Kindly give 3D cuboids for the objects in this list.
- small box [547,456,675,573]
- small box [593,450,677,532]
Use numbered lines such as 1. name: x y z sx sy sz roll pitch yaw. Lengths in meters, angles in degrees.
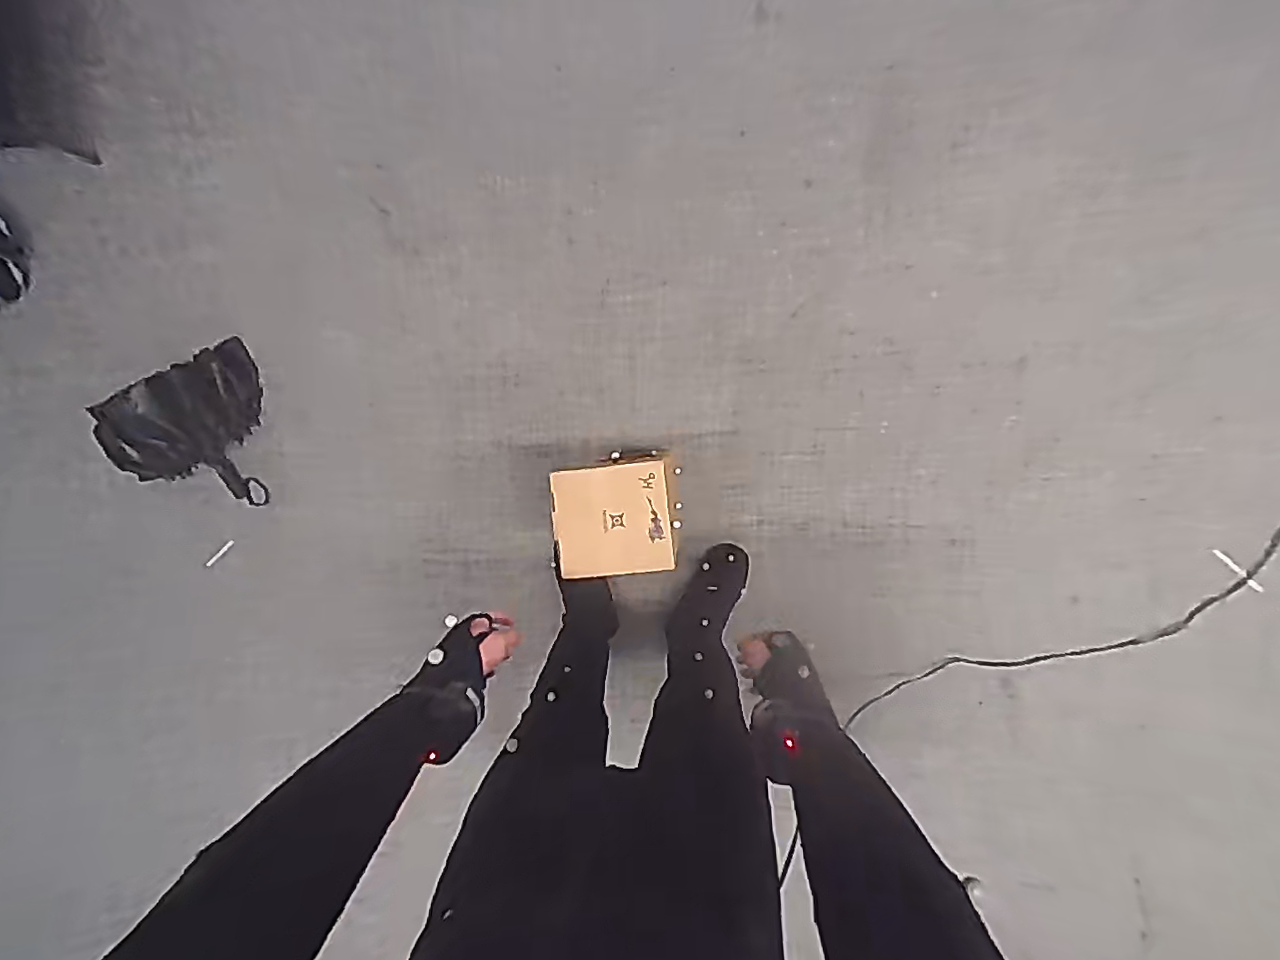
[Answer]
1. small box: -0.039 0.051 0.895 0.179 0.176 0.168 -6 94 6
2. small box: -0.006 0.025 1.220 0.168 0.176 0.179 -5 95 6
